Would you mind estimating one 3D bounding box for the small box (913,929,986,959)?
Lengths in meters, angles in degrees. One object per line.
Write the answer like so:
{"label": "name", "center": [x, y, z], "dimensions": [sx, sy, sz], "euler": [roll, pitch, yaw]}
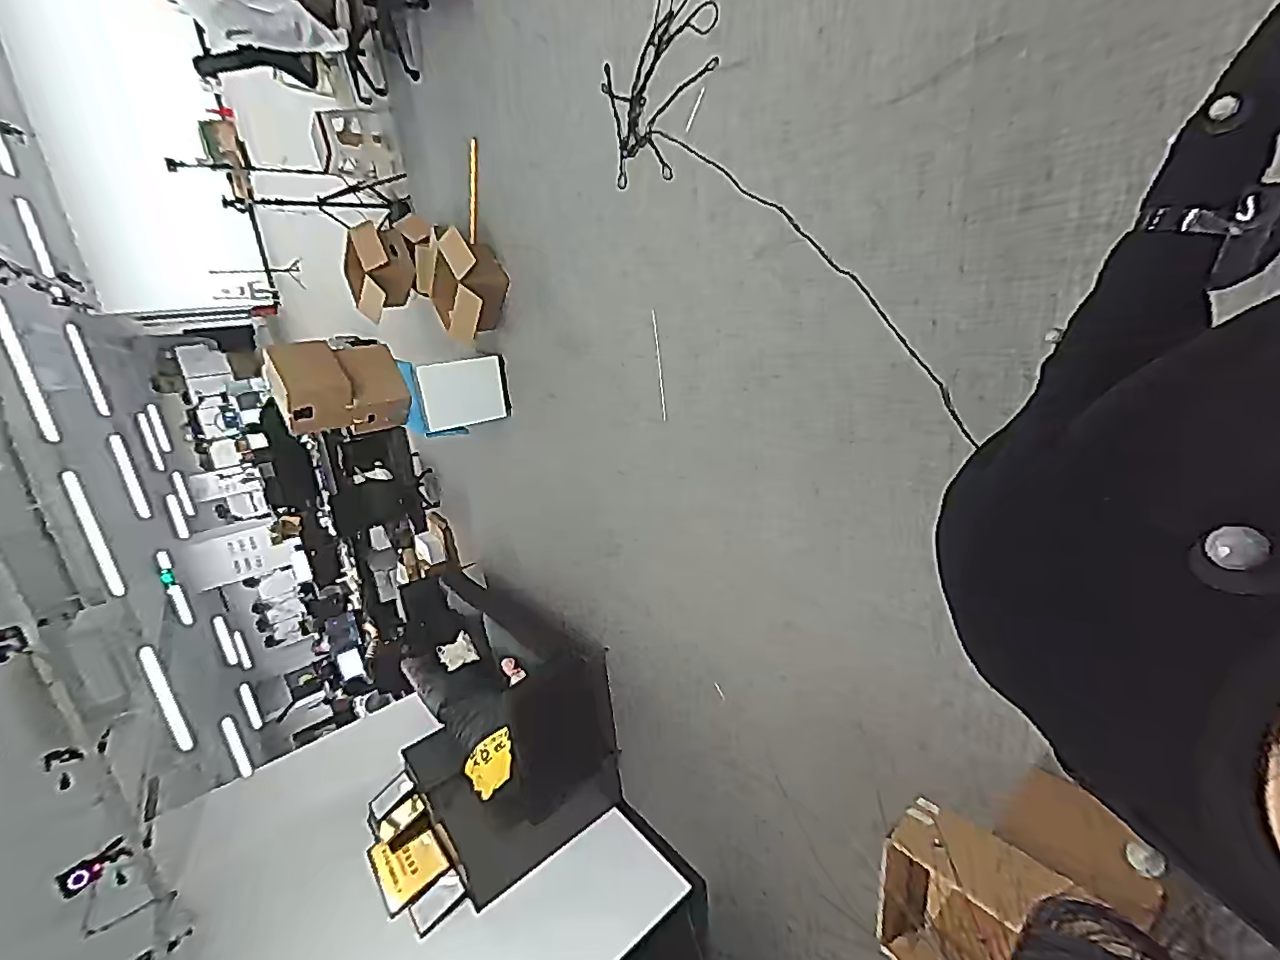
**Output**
{"label": "small box", "center": [0.676, 1.119, 1.154], "dimensions": [0.179, 0.176, 0.168], "euler": [21, 122, 46]}
